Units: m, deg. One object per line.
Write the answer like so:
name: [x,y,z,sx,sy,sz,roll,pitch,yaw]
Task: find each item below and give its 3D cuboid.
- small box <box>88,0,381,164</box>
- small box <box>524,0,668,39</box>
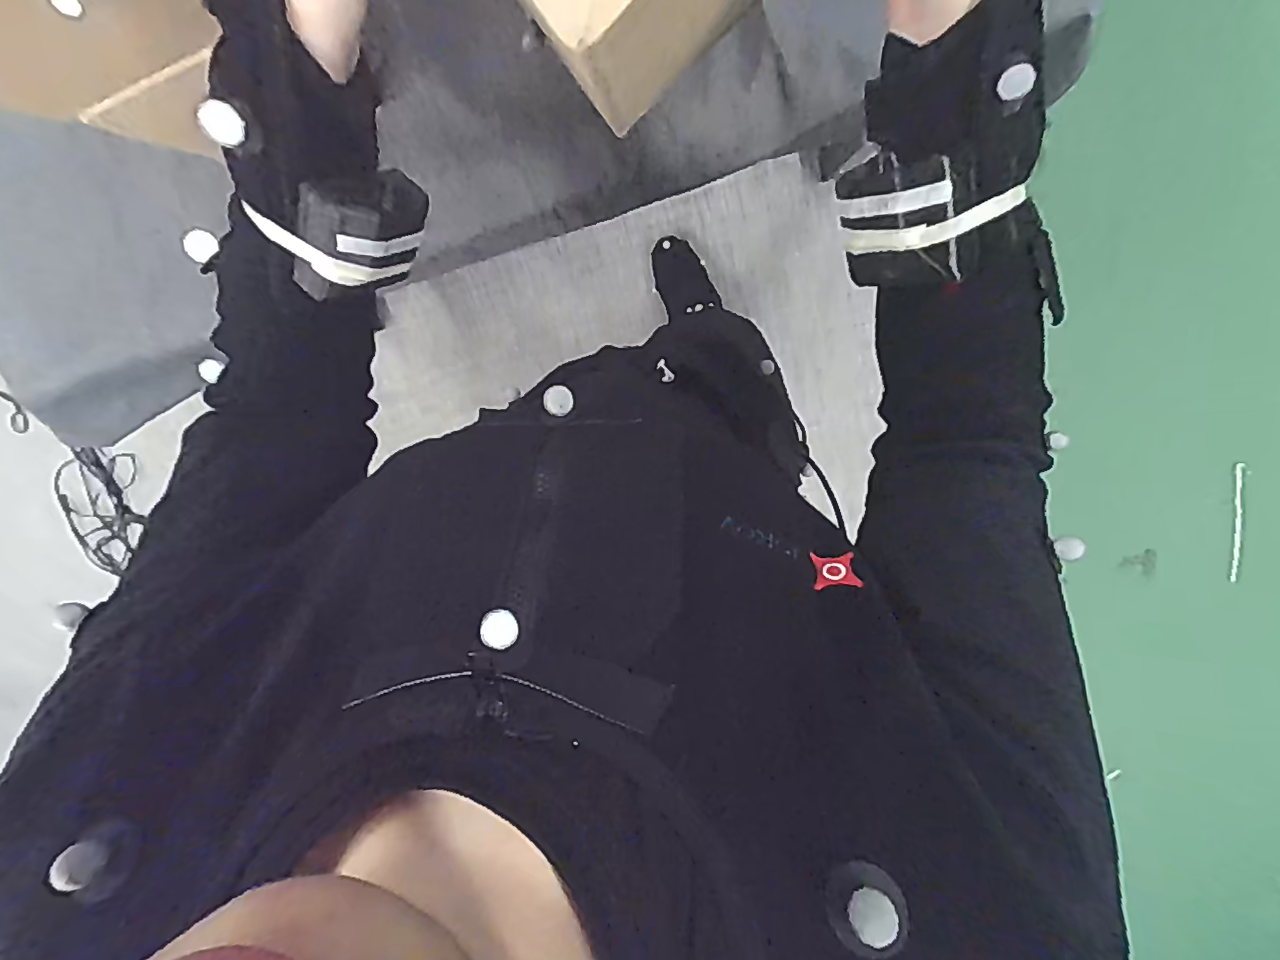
small box: [-0.358,-0.395,0.446,0.168,0.176,0.179,-14,107,11]
small box: [-0.034,-0.468,0.387,0.179,0.176,0.168,-13,107,10]
